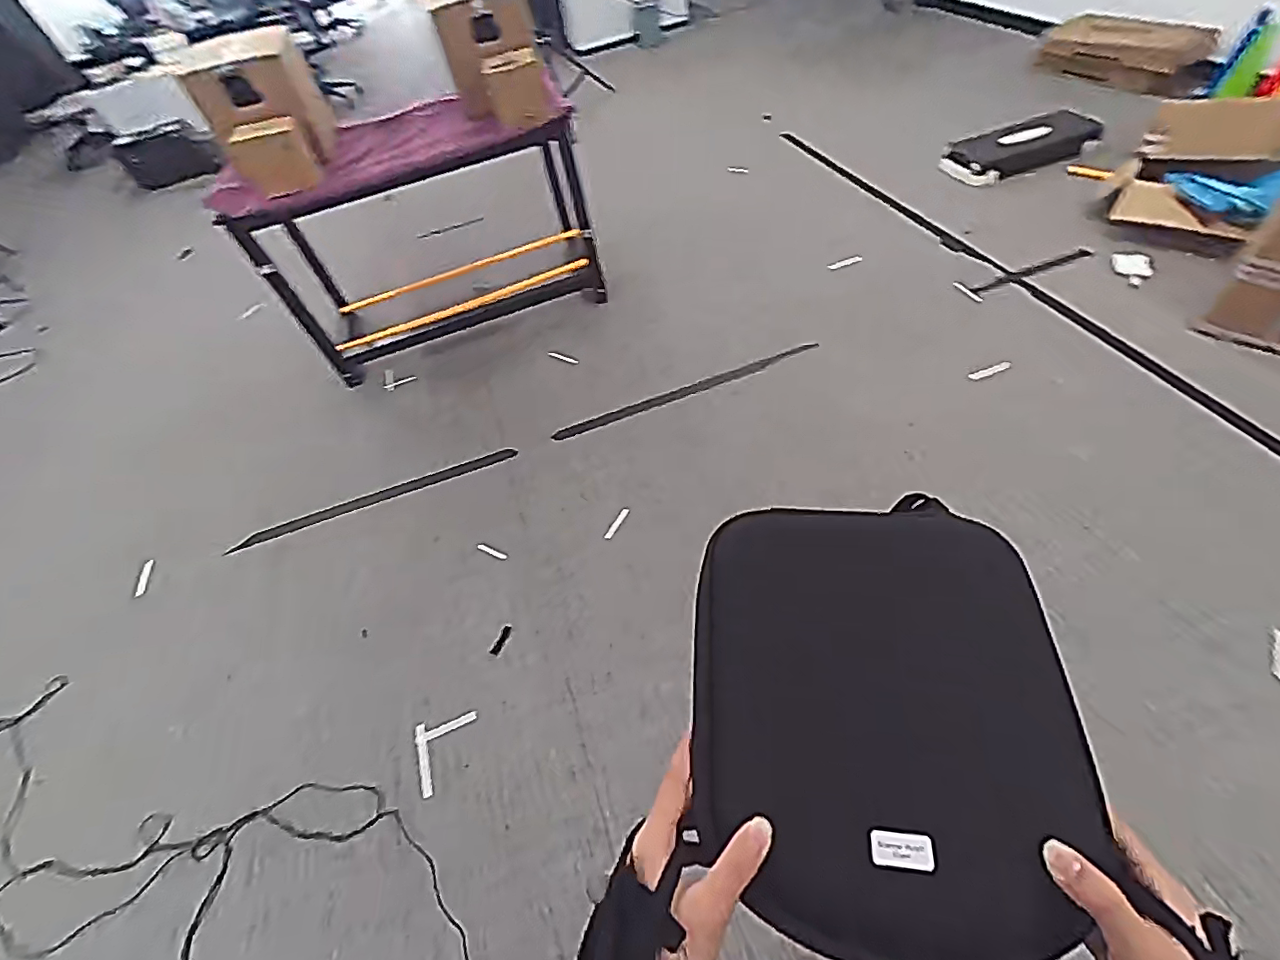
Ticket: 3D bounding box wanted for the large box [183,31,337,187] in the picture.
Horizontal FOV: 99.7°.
[{"bbox_3d":[-1.295,-1.296,1.886,0.320,0.320,0.408,-20,54,-6],"label":"large box"}]
